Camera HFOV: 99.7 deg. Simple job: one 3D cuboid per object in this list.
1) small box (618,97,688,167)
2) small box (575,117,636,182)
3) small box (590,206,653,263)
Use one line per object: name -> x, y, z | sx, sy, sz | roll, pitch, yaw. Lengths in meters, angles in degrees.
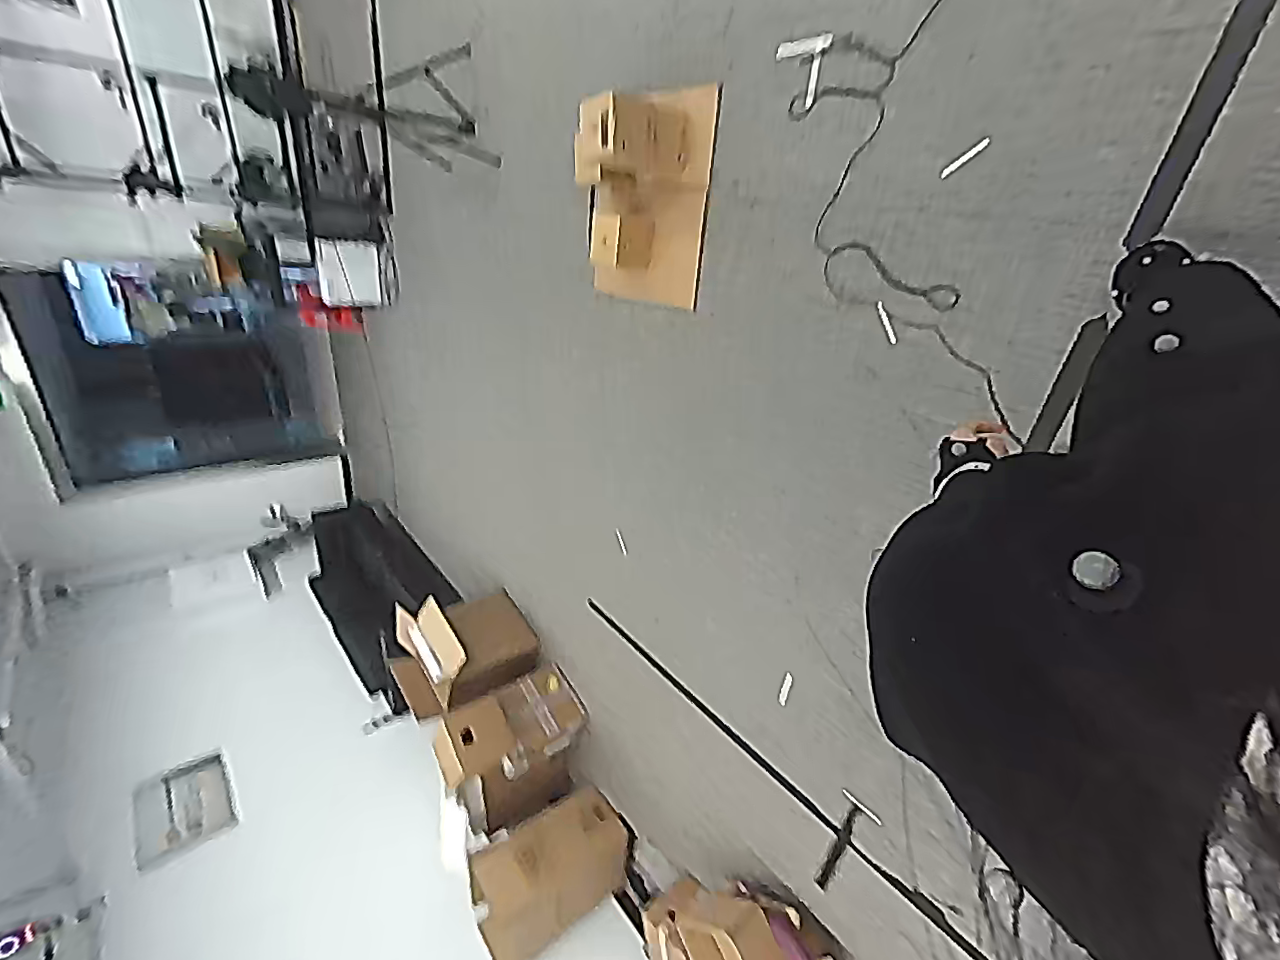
small box -> 0.044, -1.168, 1.824 | 0.179, 0.176, 0.168 | 25, 121, 44
small box -> -0.125, -1.224, 2.013 | 0.168, 0.176, 0.179 | 25, 122, 45
small box -> -0.068, -0.927, 2.043 | 0.168, 0.176, 0.179 | 34, 128, 39
